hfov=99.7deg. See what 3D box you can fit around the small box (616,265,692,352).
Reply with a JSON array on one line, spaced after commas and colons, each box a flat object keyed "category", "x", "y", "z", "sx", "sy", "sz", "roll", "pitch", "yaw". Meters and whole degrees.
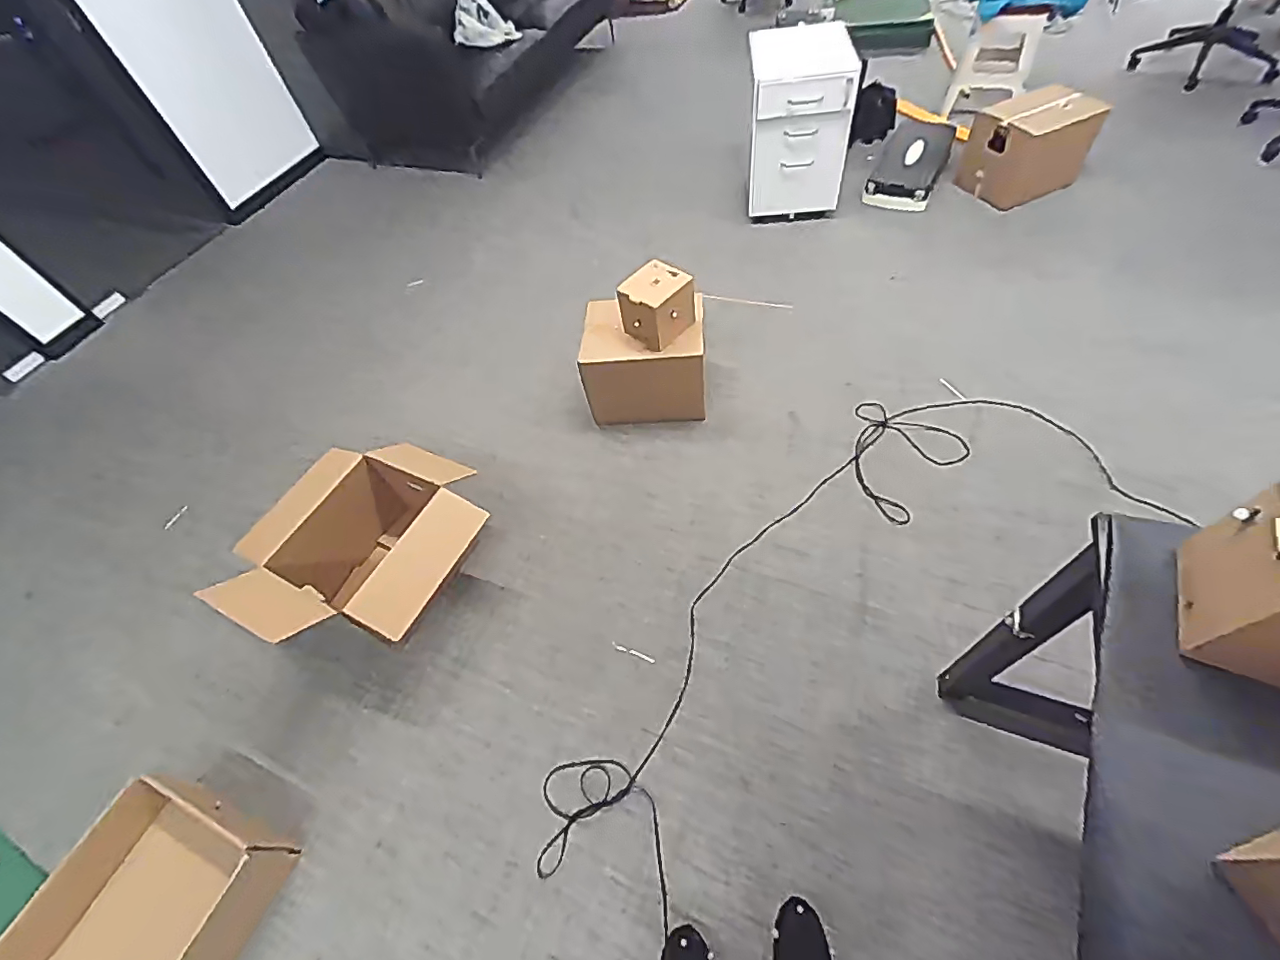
[{"category": "small box", "x": 0.052, "y": -0.539, "z": 1.710, "sx": 0.168, "sy": 0.176, "sz": 0.179, "roll": 36, "pitch": 69, "yaw": 28}]
